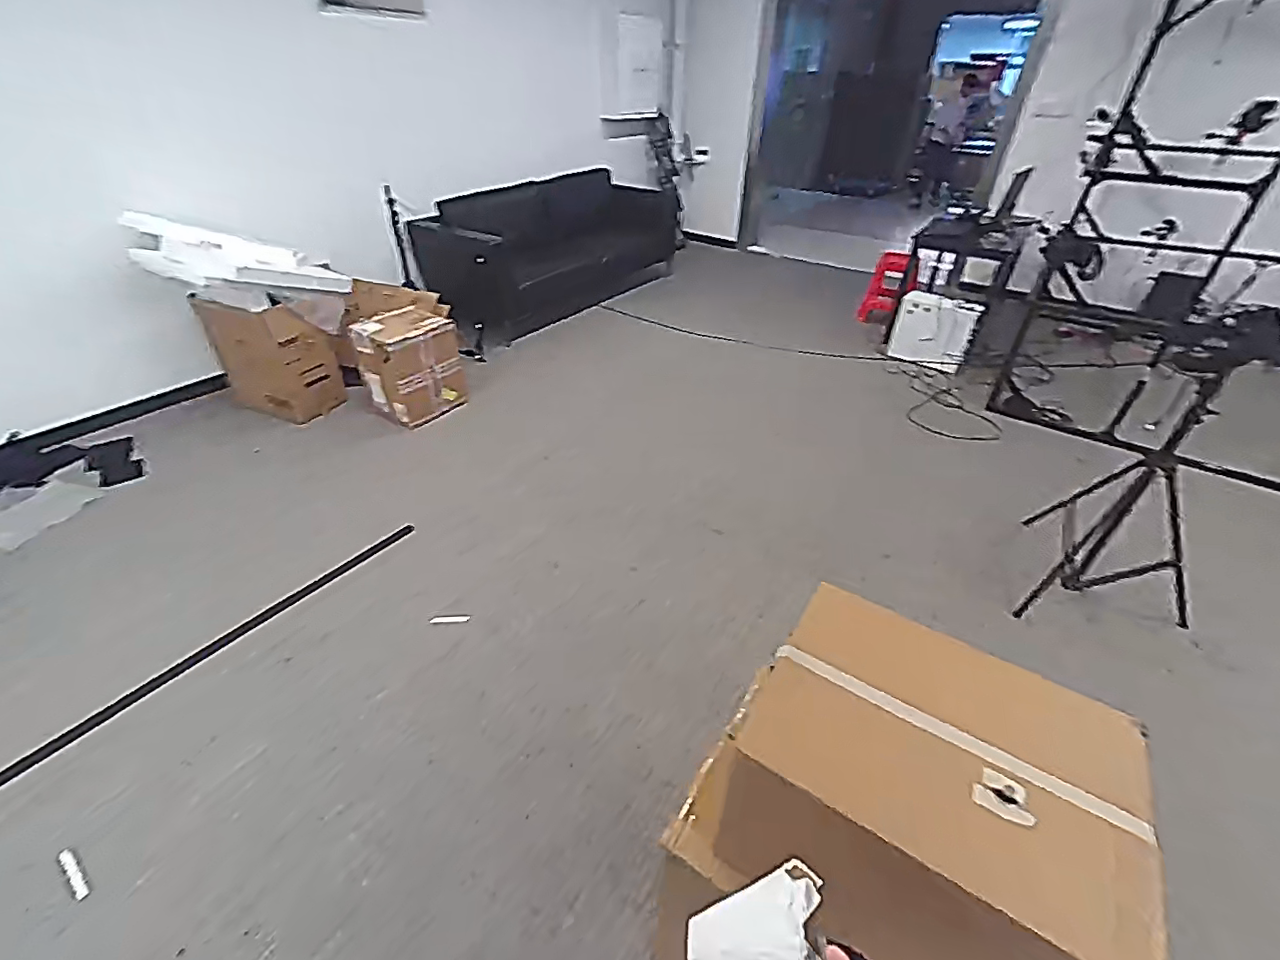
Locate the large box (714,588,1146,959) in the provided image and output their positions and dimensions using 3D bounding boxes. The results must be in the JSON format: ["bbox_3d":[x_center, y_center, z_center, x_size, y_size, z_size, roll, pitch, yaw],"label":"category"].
[{"bbox_3d":[0.359,0.427,0.752,0.408,0.320,0.320,23,42,25],"label":"large box"}]
